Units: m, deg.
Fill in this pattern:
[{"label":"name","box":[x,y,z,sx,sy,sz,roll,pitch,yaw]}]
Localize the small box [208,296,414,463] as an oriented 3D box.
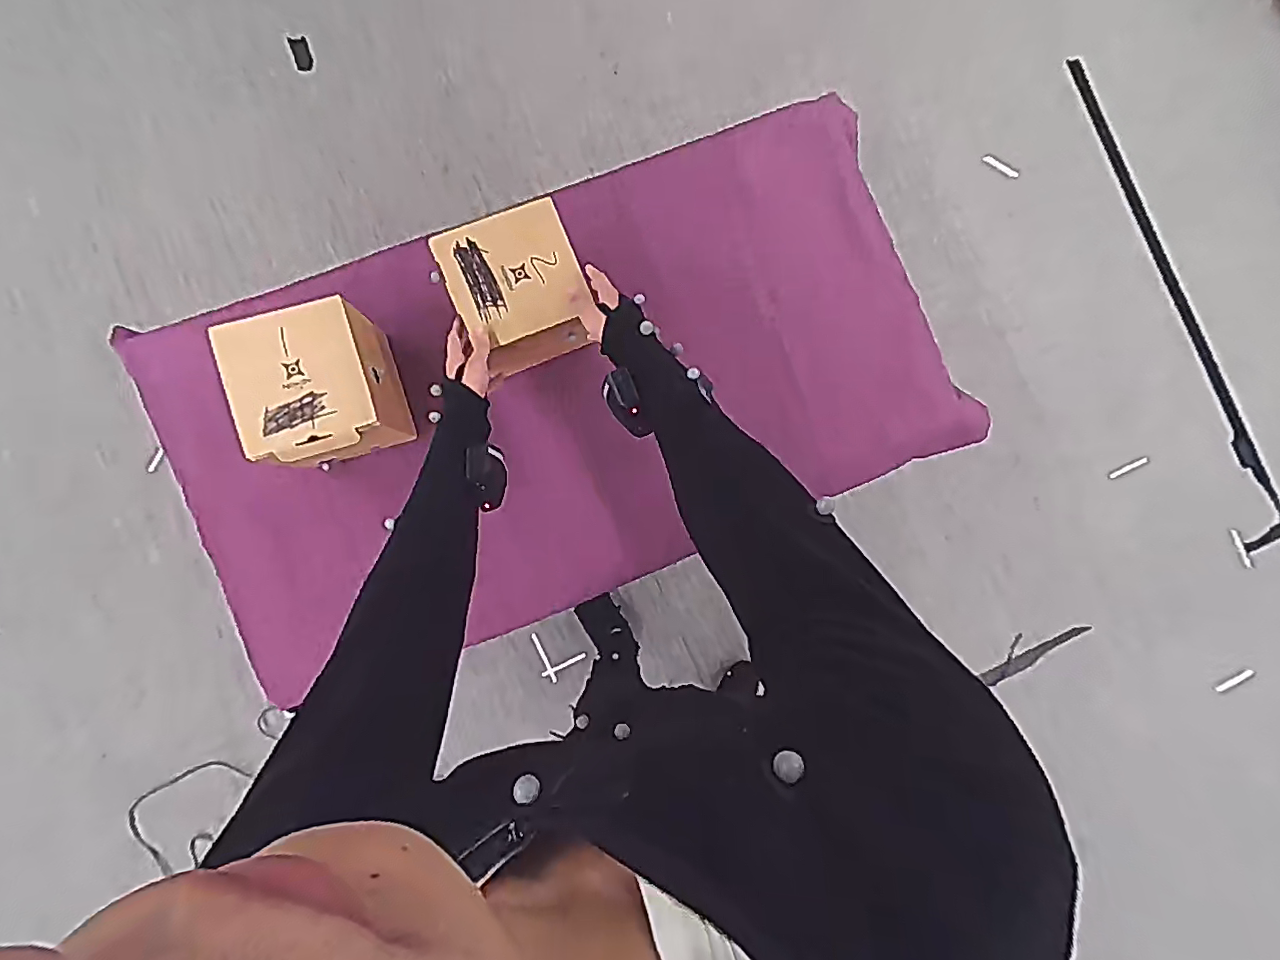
[{"label":"small box","box":[-0.440,-0.127,0.755,0.168,0.176,0.179,-18,90,-7]}]
